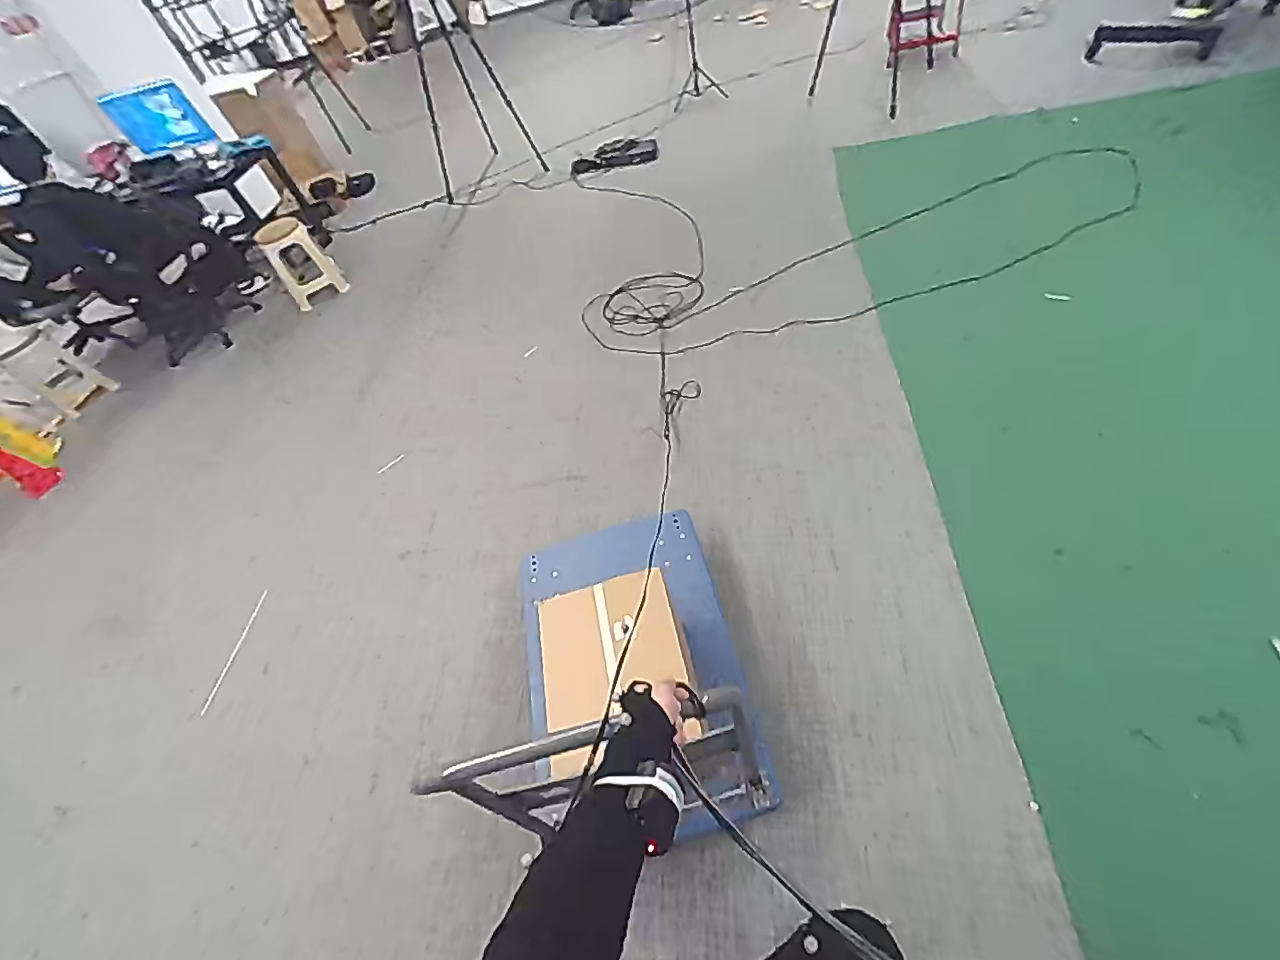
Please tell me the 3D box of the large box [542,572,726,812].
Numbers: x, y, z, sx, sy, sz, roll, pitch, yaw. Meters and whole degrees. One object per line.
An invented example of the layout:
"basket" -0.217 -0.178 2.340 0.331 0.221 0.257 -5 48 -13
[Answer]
"large box" -0.017 0.498 1.275 0.320 0.320 0.408 -17 49 2
